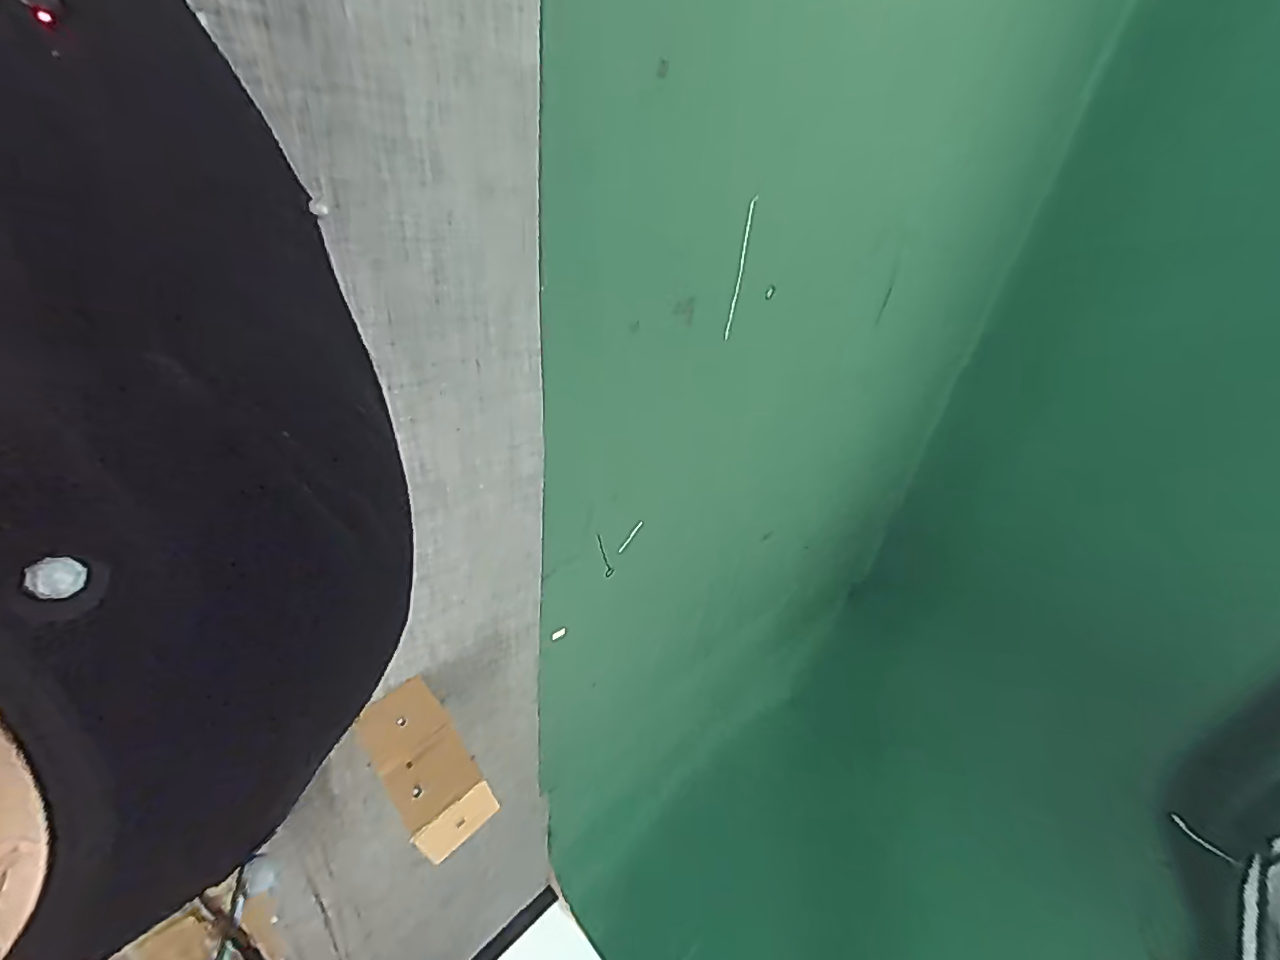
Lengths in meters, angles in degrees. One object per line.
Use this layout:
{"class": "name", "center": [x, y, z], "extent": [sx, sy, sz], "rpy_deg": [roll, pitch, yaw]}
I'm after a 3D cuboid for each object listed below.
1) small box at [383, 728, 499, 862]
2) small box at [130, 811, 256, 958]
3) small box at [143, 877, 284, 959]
{"class": "small box", "center": [-0.444, 0.693, 1.206], "extent": [0.168, 0.176, 0.179], "rpy_deg": [-32, 139, -30]}
{"class": "small box", "center": [-0.877, 0.815, 1.073], "extent": [0.179, 0.176, 0.168], "rpy_deg": [-16, 130, -42]}
{"class": "small box", "center": [-0.763, 0.884, 0.975], "extent": [0.179, 0.176, 0.168], "rpy_deg": [-17, 129, -44]}
